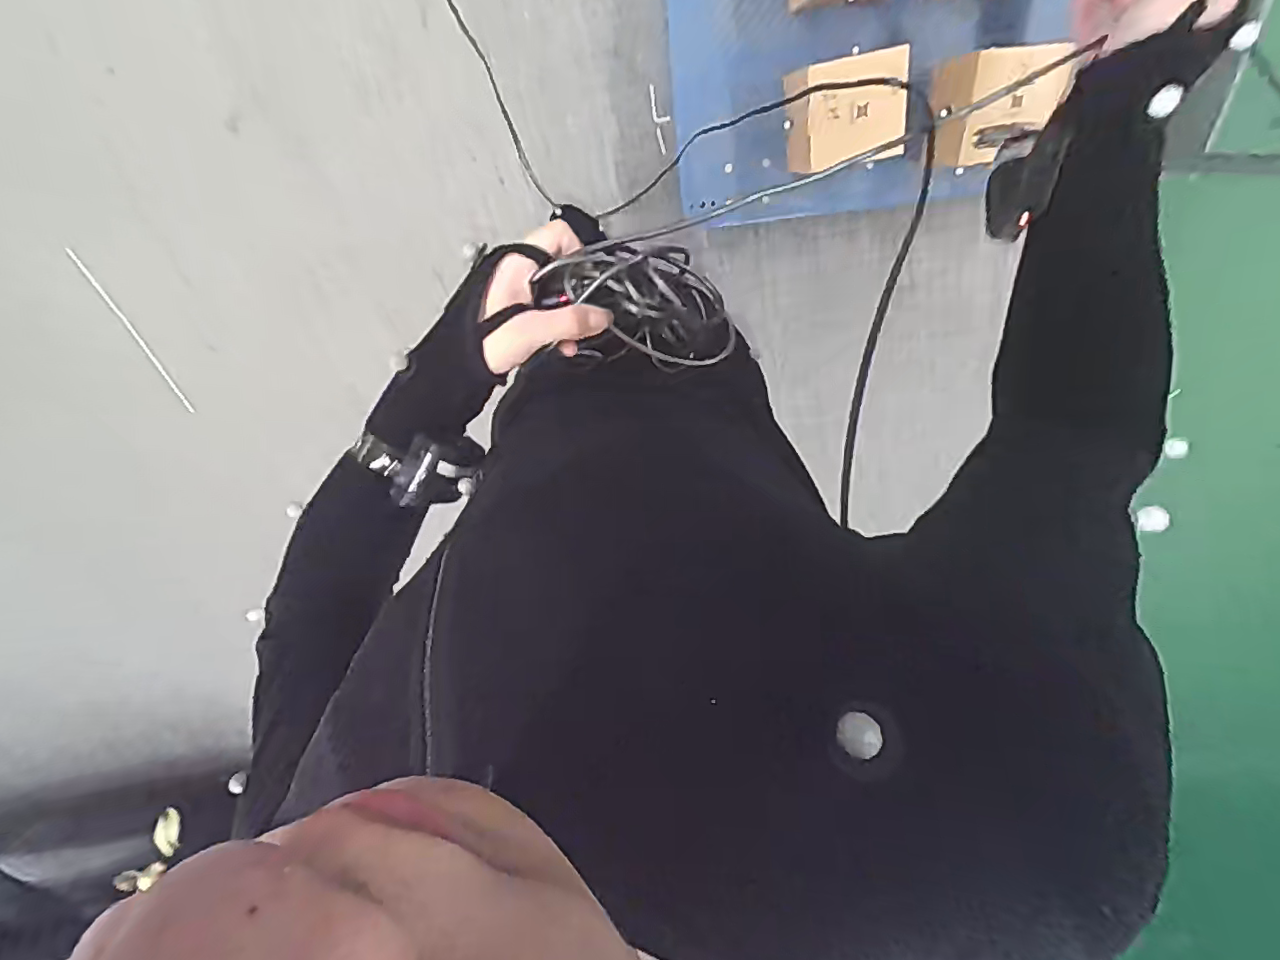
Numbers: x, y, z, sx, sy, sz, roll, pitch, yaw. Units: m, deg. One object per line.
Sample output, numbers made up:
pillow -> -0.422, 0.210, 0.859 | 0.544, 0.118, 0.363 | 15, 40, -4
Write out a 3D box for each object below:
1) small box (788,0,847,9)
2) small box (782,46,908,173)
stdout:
small box -> 0.349, -0.912, 0.895 | 0.179, 0.176, 0.168 | -8, 123, 2
small box -> 0.380, -0.698, 1.029 | 0.179, 0.176, 0.168 | -10, 121, 4
